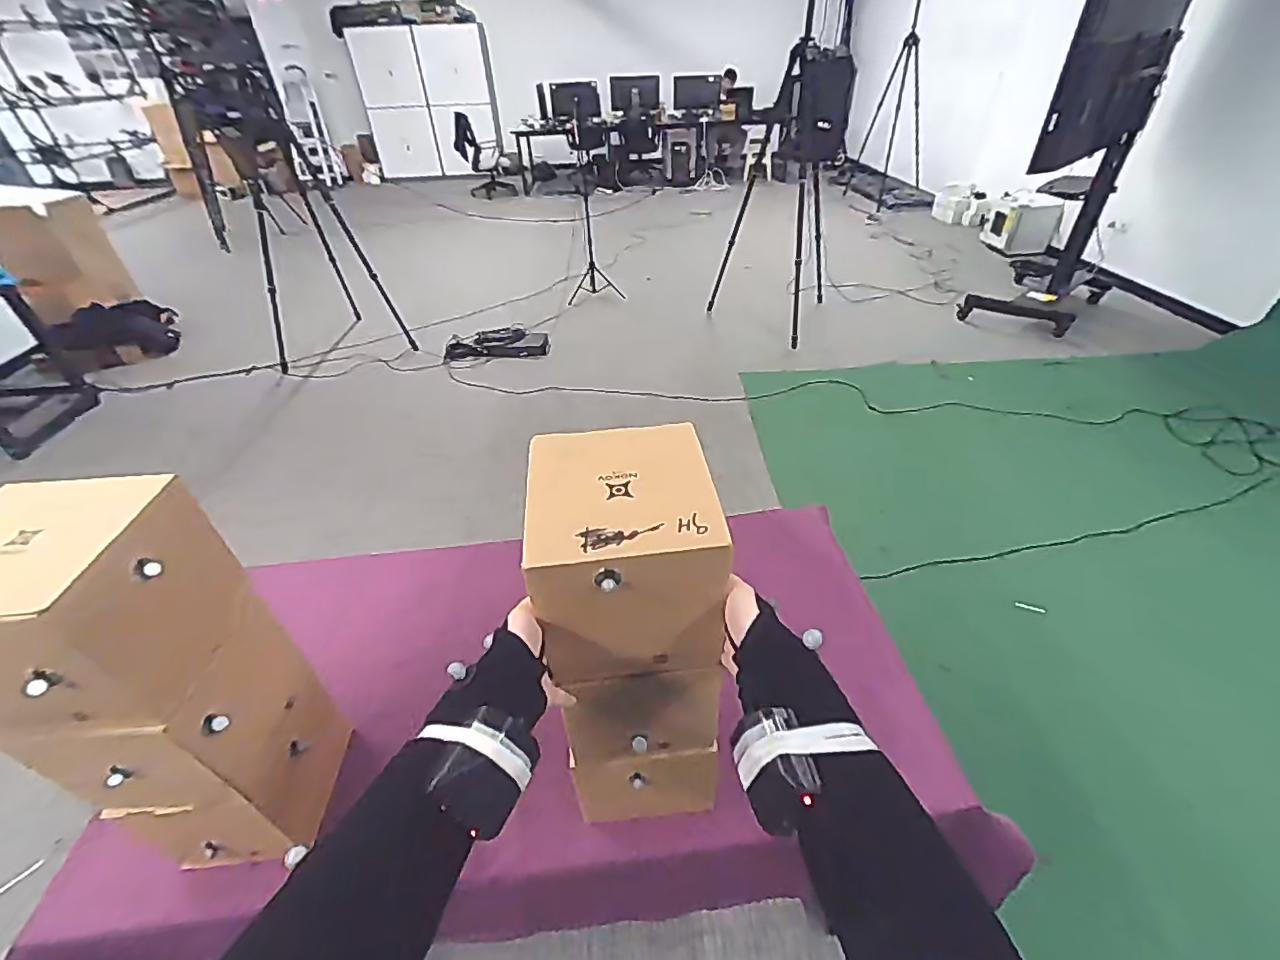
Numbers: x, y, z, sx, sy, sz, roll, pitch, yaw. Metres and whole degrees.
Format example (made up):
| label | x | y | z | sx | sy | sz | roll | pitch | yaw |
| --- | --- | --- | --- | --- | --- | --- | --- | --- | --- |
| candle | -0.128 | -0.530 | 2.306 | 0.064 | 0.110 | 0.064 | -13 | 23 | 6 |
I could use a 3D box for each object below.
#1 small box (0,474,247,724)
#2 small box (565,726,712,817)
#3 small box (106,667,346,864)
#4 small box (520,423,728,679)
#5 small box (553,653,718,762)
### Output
| label | x | y | z | sx | sy | sz | roll | pitch | yaw |
| --- | --- | --- | --- | --- | --- | --- | --- | --- | --- |
| small box | -0.531 | 0.116 | 0.521 | 0.168 | 0.176 | 0.179 | -3 | 38 | -2 |
| small box | -0.001 | 0.335 | 0.736 | 0.179 | 0.176 | 0.168 | -5 | 39 | -2 |
| small box | -0.521 | 0.377 | 0.720 | 0.168 | 0.176 | 0.179 | -5 | 39 | -2 |
| small box | -0.016 | 0.066 | 0.531 | 0.168 | 0.176 | 0.179 | -6 | 39 | -3 |
| small box | -0.009 | 0.201 | 0.640 | 0.168 | 0.176 | 0.179 | -7 | 39 | -4 |
